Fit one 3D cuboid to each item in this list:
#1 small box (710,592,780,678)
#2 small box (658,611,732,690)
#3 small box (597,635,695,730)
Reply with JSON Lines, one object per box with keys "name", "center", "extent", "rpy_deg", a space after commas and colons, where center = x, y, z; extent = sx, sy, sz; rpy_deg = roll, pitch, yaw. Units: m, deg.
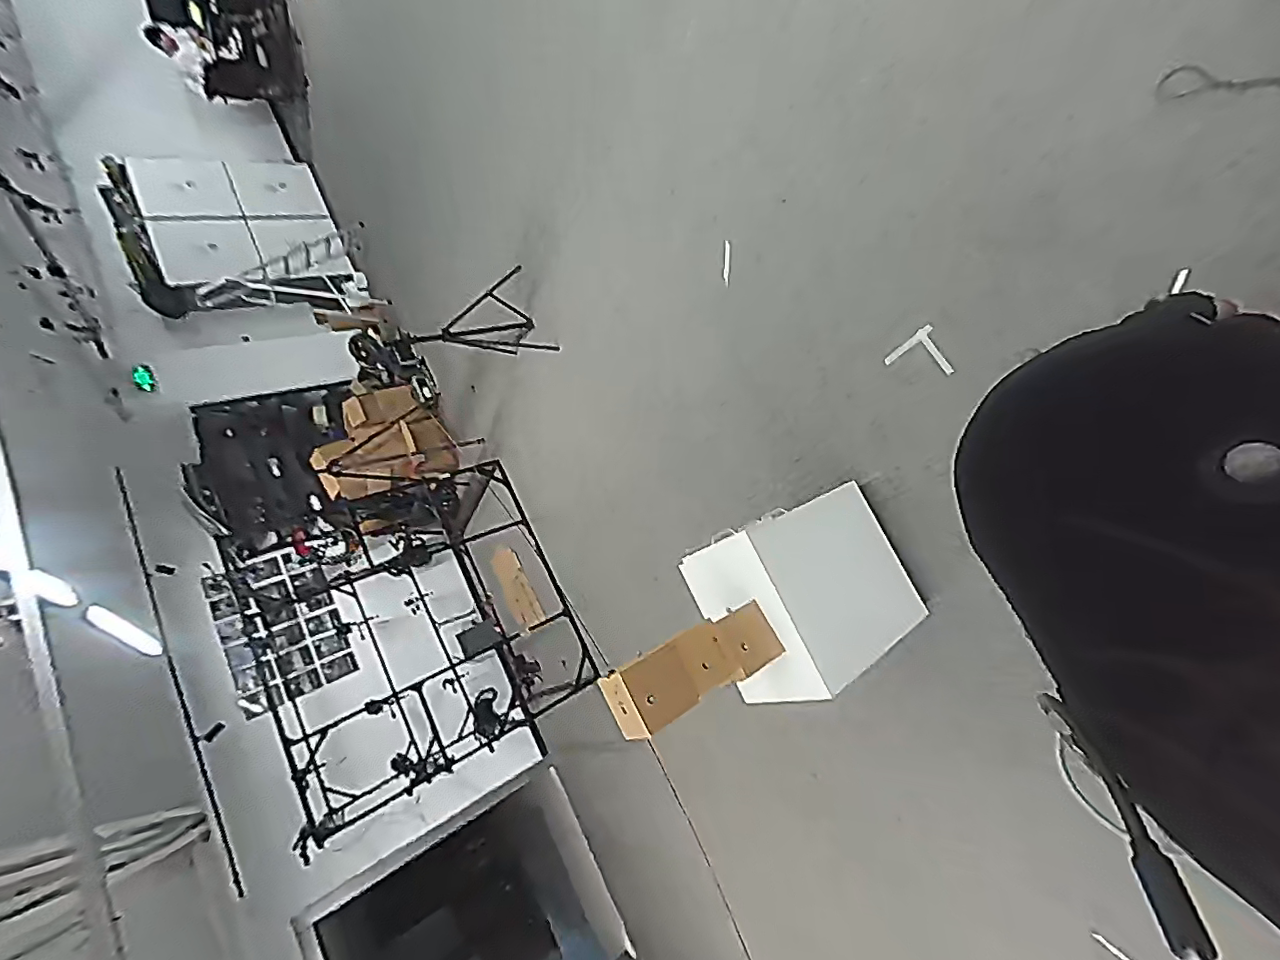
{"name": "small box", "center": [0.285, 0.464, 1.623], "extent": [0.179, 0.176, 0.168], "rpy_deg": [60, 145, 15]}
{"name": "small box", "center": [0.140, 0.497, 1.553], "extent": [0.168, 0.176, 0.179], "rpy_deg": [60, 146, 14]}
{"name": "small box", "center": [0.017, 0.544, 1.451], "extent": [0.179, 0.176, 0.168], "rpy_deg": [61, 146, 12]}
